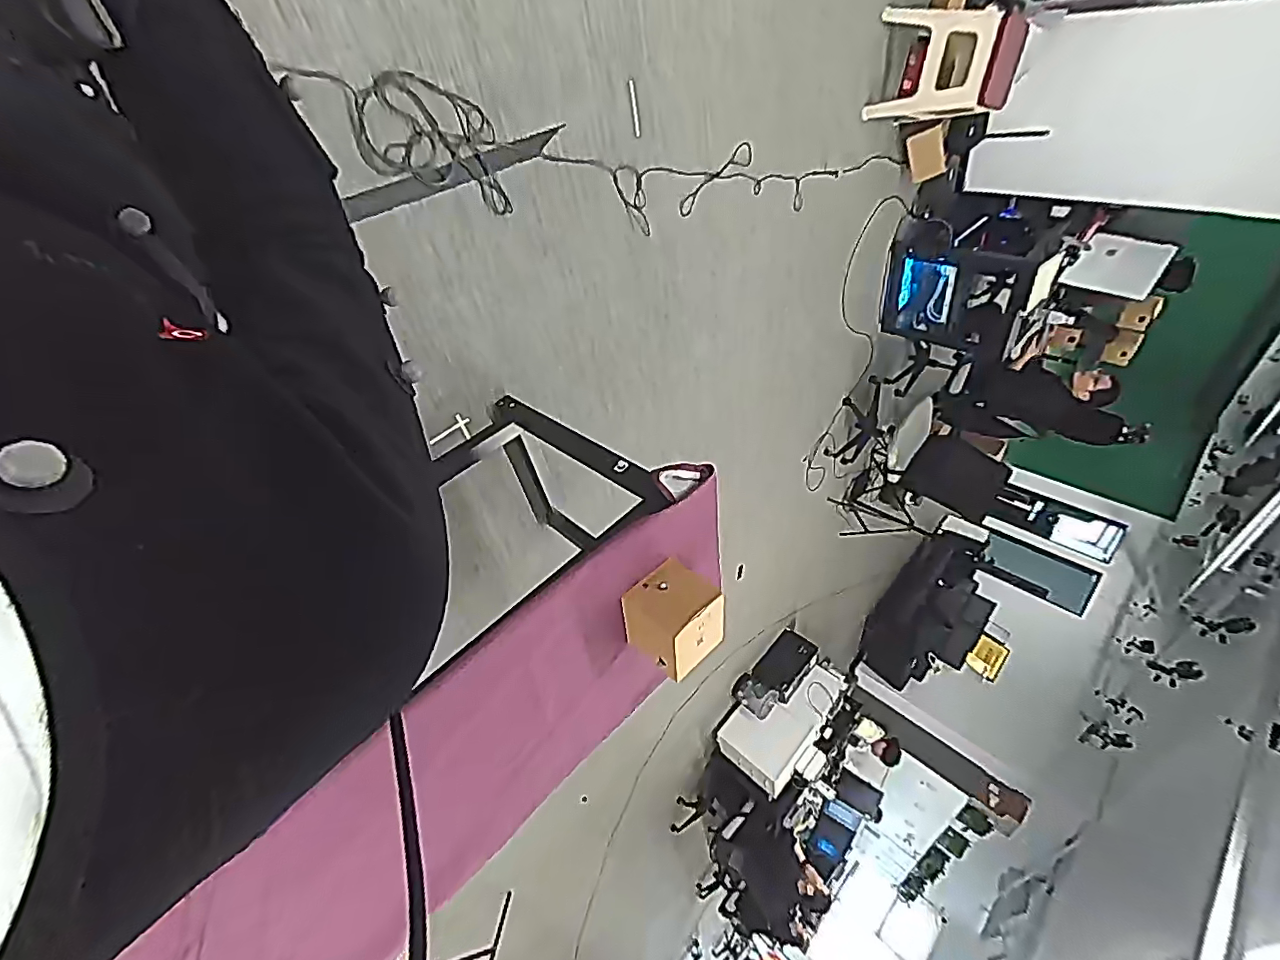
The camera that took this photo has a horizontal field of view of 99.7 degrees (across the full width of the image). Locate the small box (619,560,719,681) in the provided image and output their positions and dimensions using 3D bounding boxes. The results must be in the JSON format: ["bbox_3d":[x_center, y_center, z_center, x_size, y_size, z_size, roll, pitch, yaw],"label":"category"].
[{"bbox_3d":[0.068,0.322,1.269,0.168,0.176,0.179,-34,135,-32],"label":"small box"}]
